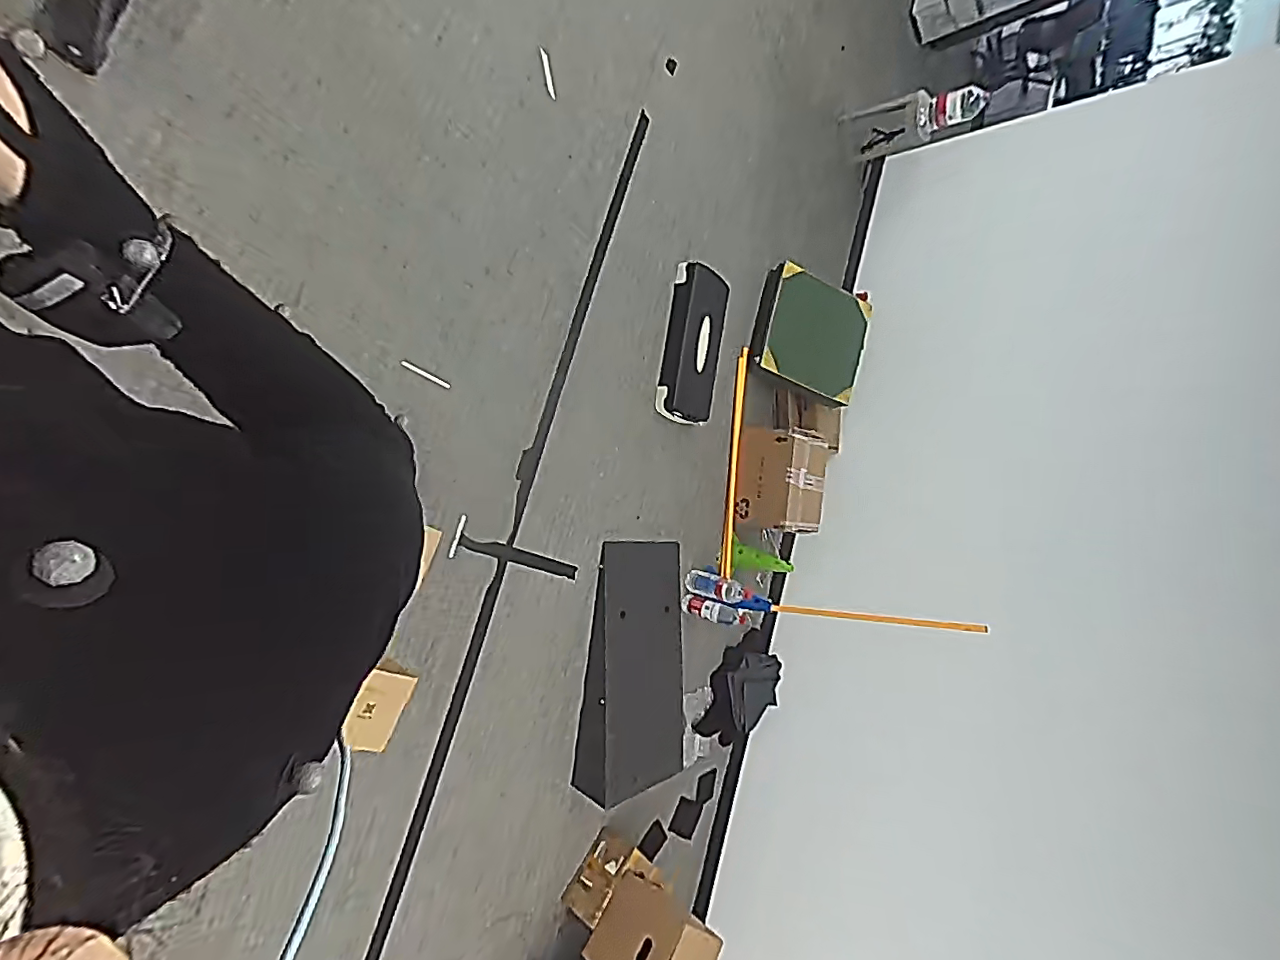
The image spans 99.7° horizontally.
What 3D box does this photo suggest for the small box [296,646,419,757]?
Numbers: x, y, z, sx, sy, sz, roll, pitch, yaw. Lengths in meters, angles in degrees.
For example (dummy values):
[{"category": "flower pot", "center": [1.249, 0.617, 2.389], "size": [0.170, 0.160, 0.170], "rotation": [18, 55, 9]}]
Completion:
[{"category": "small box", "center": [-0.655, 0.507, 1.245], "size": [0.168, 0.176, 0.179], "rotation": [39, 67, -45]}]
